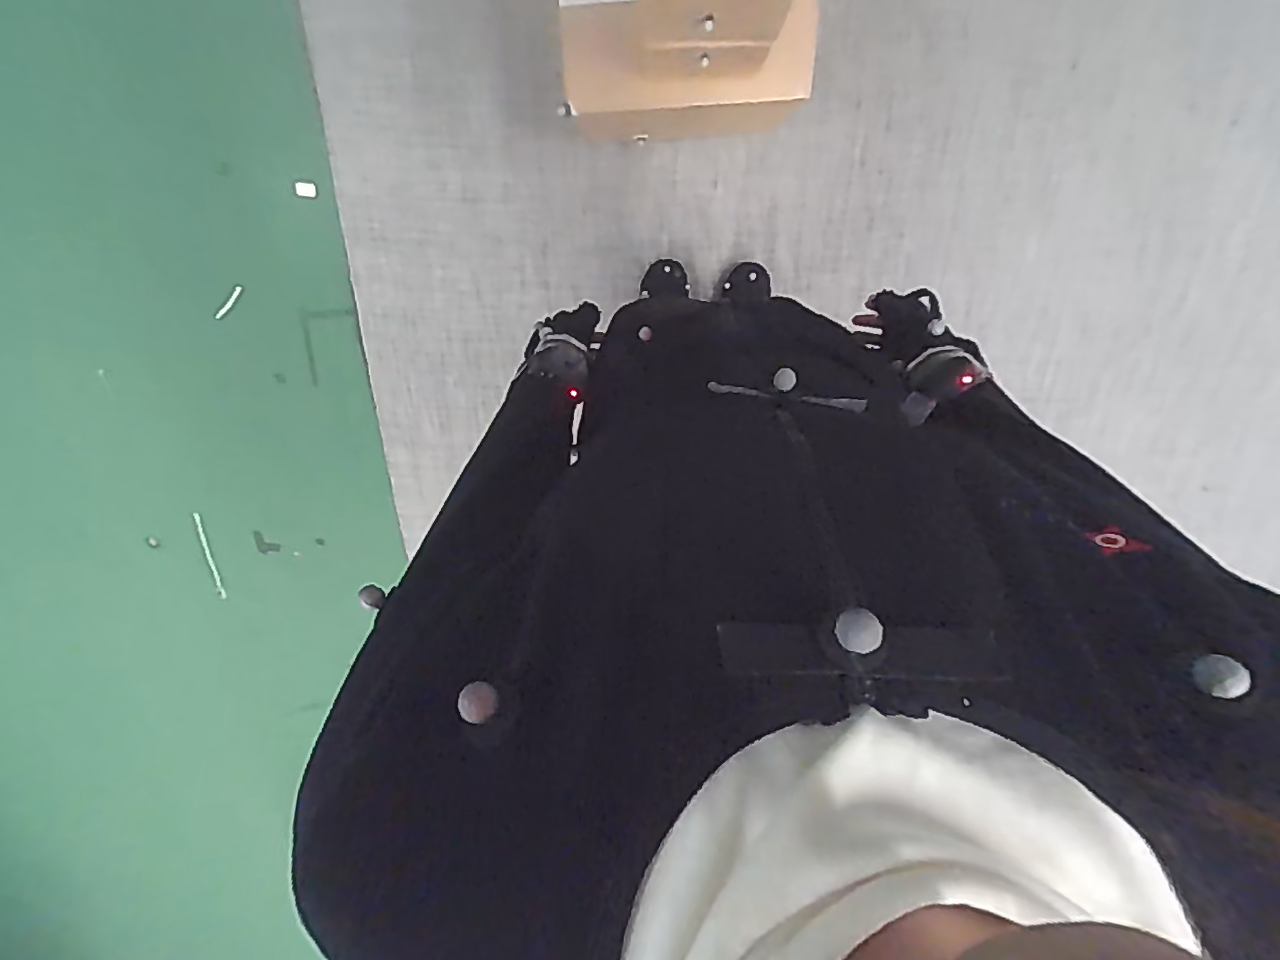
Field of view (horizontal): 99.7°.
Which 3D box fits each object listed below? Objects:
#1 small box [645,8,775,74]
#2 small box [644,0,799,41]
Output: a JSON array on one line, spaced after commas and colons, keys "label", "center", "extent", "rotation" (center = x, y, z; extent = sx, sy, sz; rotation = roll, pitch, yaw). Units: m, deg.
[{"label": "small box", "center": [0.101, -0.698, 0.769], "extent": [0.179, 0.176, 0.168], "rotation": [2, 115, 4]}, {"label": "small box", "center": [0.094, -0.631, 0.619], "extent": [0.179, 0.176, 0.168], "rotation": [0, 115, 5]}]
